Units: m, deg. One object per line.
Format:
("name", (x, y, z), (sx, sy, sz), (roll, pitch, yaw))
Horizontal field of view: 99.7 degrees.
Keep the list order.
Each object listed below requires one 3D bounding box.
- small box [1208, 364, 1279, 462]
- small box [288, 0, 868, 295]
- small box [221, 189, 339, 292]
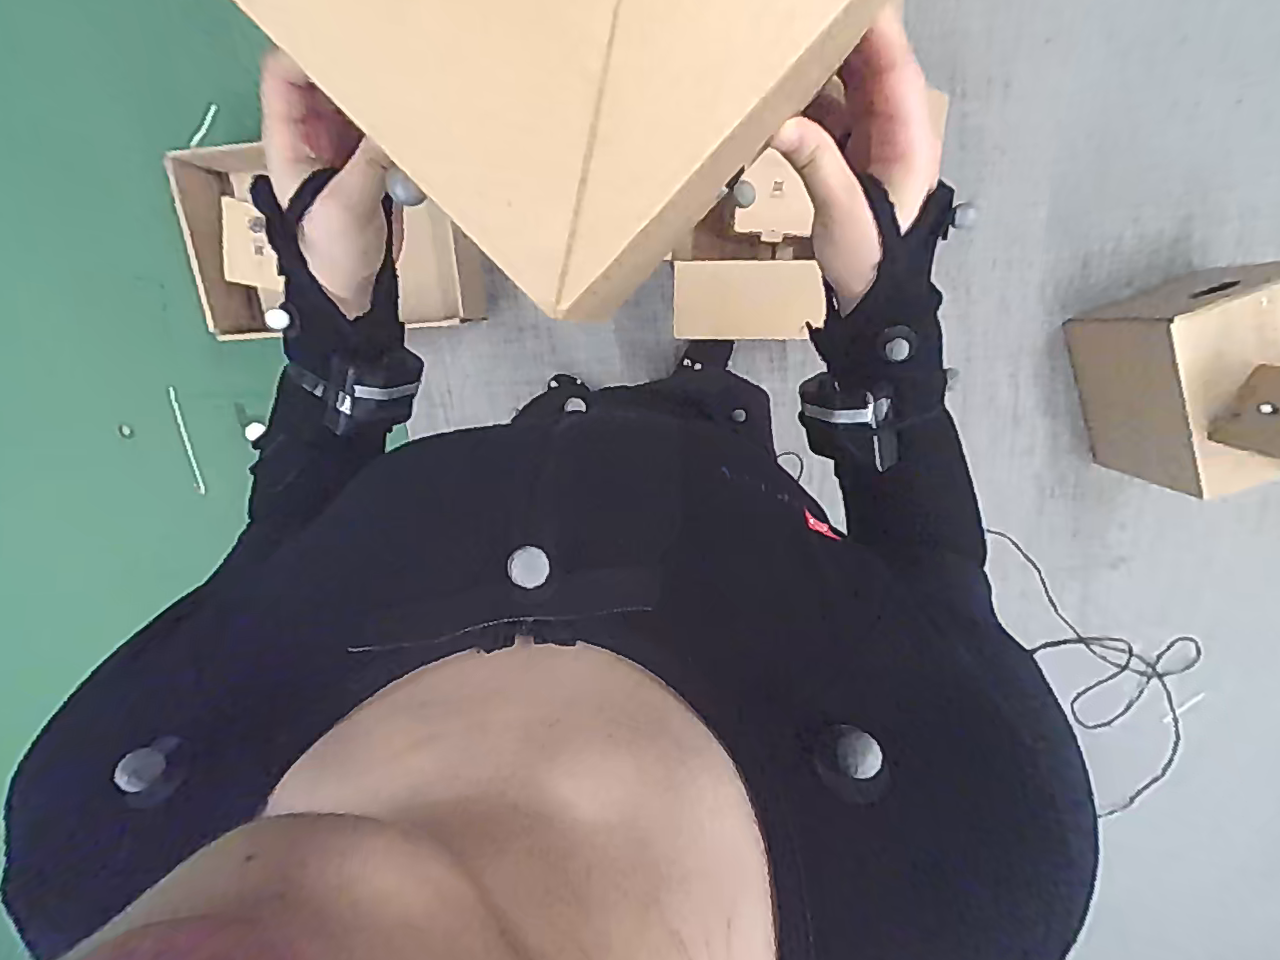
("small box", (1.245, -0.112, 1.004), (0.179, 0.176, 0.168), (18, 108, 0))
("small box", (-0.016, -0.199, 0.217), (0.168, 0.176, 0.179), (44, 102, -10))
("small box", (-0.826, -0.545, 1.253), (0.168, 0.176, 0.179), (12, 106, -1))
